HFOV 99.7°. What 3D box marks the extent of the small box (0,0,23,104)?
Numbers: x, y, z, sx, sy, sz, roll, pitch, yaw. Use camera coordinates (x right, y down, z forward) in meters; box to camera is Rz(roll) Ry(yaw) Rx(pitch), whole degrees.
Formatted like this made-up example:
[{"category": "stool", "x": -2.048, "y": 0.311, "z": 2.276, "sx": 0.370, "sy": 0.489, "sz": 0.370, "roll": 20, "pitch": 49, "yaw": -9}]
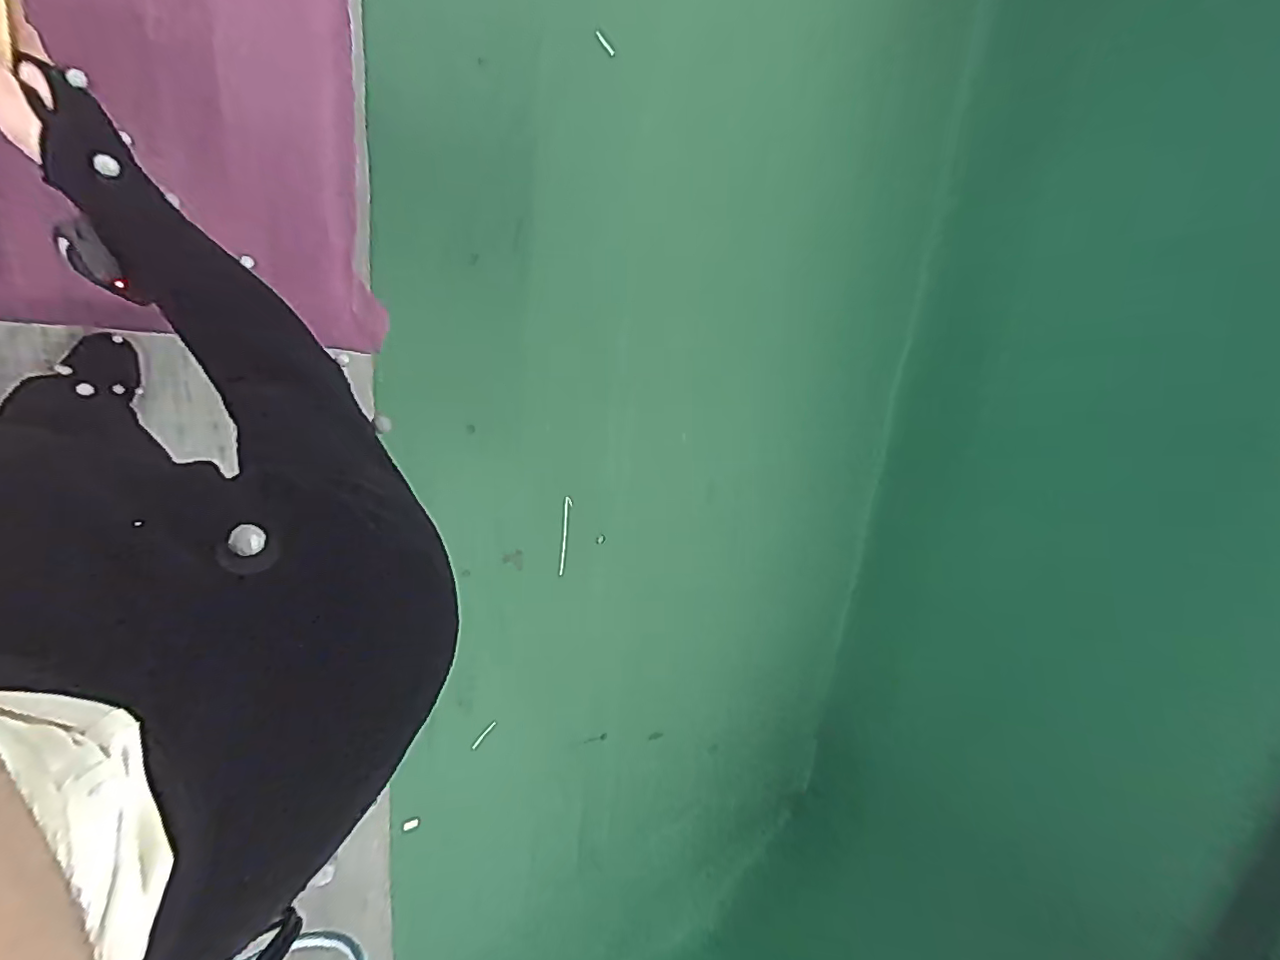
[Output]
[{"category": "small box", "x": -0.604, "y": -0.426, "z": 0.406, "sx": 0.168, "sy": 0.176, "sz": 0.179, "roll": -5, "pitch": 109, "yaw": -43}]
